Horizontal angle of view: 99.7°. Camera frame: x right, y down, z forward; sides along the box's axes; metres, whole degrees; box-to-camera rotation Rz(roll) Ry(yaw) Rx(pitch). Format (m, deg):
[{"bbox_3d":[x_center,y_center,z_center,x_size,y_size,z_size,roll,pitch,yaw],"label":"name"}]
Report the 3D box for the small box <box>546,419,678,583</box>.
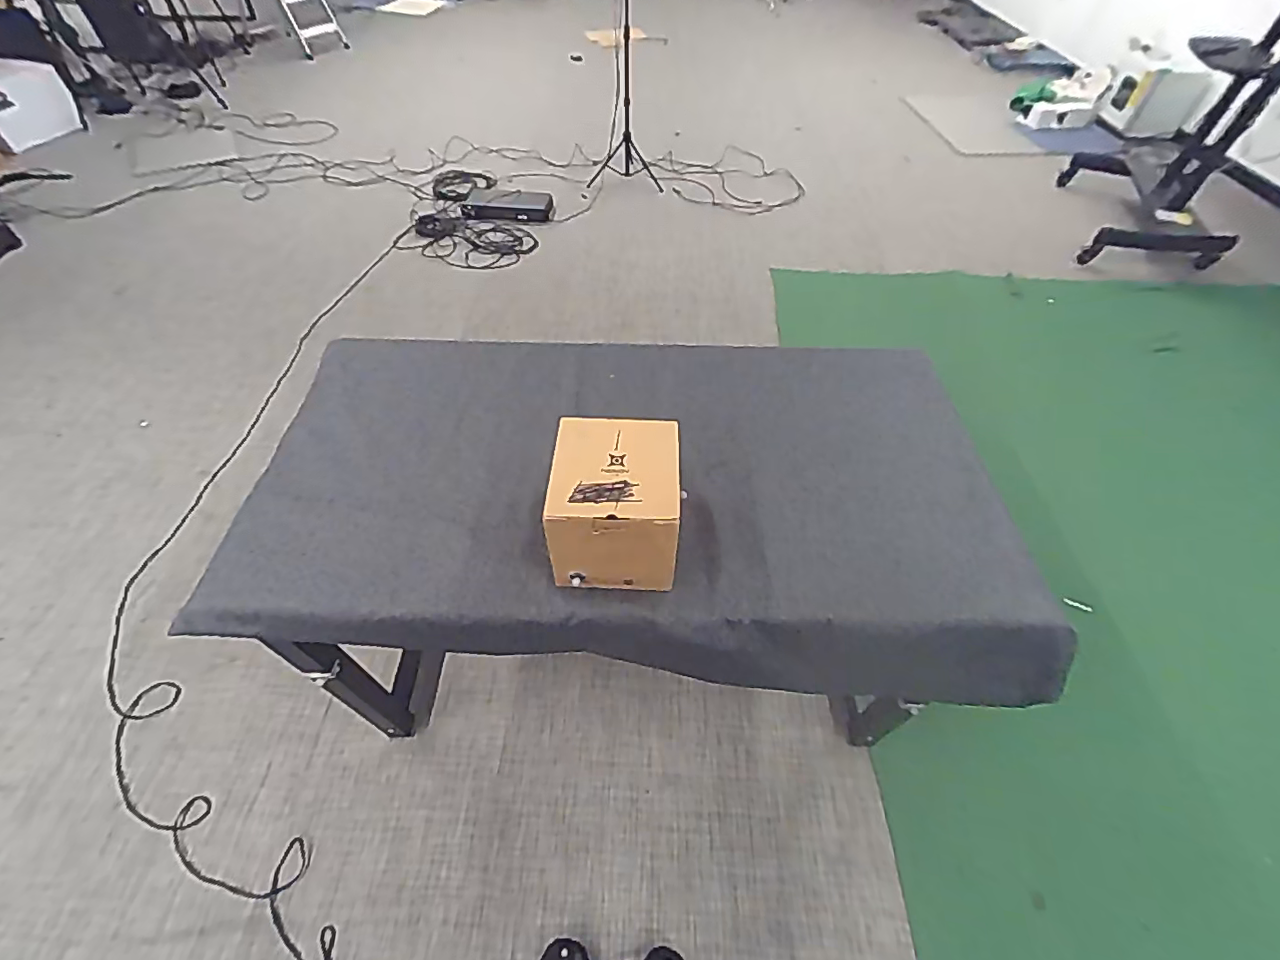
[{"bbox_3d":[-0.032,0.033,0.777,0.168,0.176,0.179,2,49,1],"label":"small box"}]
